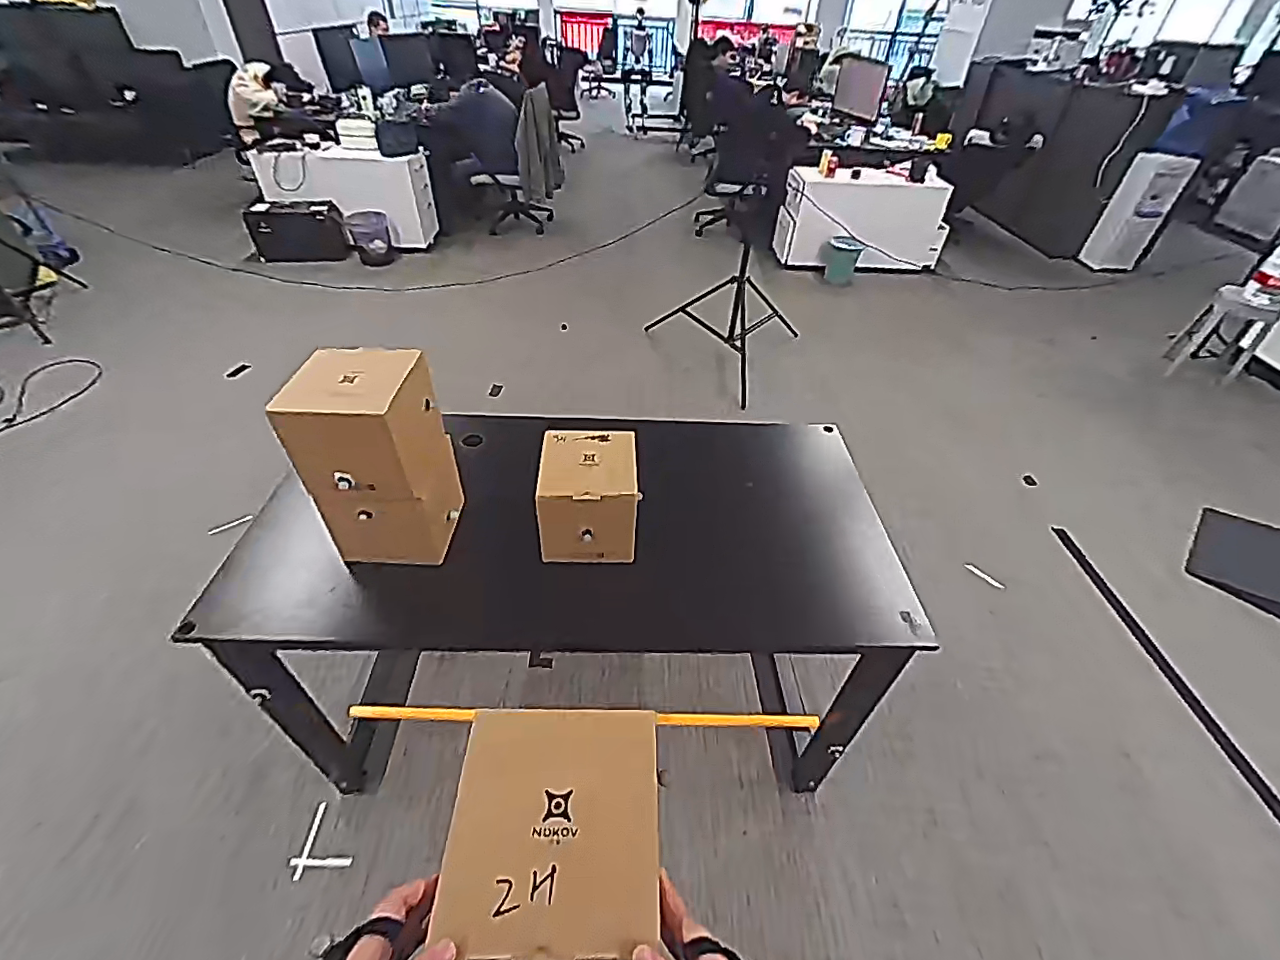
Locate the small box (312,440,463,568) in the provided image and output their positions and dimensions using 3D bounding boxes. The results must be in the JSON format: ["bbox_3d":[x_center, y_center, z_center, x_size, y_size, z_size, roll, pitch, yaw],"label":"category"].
[{"bbox_3d":[-0.432,0.040,0.959,0.179,0.176,0.168,3,42,-2],"label":"small box"}]

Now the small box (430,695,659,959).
[{"bbox_3d":[-0.070,0.320,0.496,0.168,0.176,0.179,1,43,-1],"label":"small box"}]

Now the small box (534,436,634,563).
[{"bbox_3d":[-0.095,0.038,0.986,0.168,0.176,0.179,0,42,-3],"label":"small box"}]

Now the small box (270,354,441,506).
[{"bbox_3d":[-0.427,-0.080,0.850,0.168,0.176,0.179,1,43,-1],"label":"small box"}]
